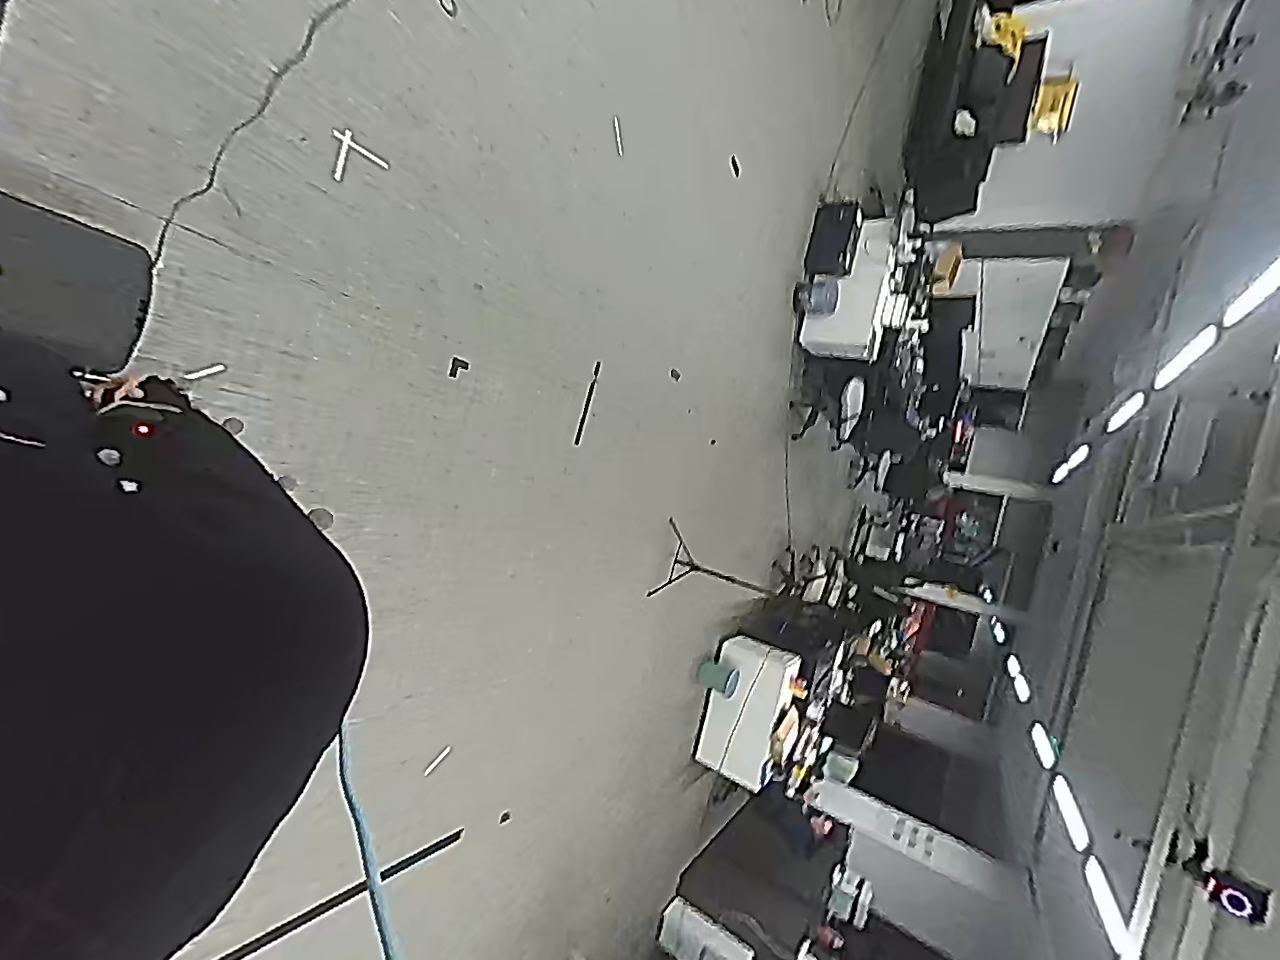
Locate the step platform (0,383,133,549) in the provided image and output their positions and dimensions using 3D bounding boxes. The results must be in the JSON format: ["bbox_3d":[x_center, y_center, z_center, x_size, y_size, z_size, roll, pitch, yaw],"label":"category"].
[{"bbox_3d":[-1.262,-0.075,0.842,0.684,0.204,0.286,22,81,-56],"label":"step platform"}]
